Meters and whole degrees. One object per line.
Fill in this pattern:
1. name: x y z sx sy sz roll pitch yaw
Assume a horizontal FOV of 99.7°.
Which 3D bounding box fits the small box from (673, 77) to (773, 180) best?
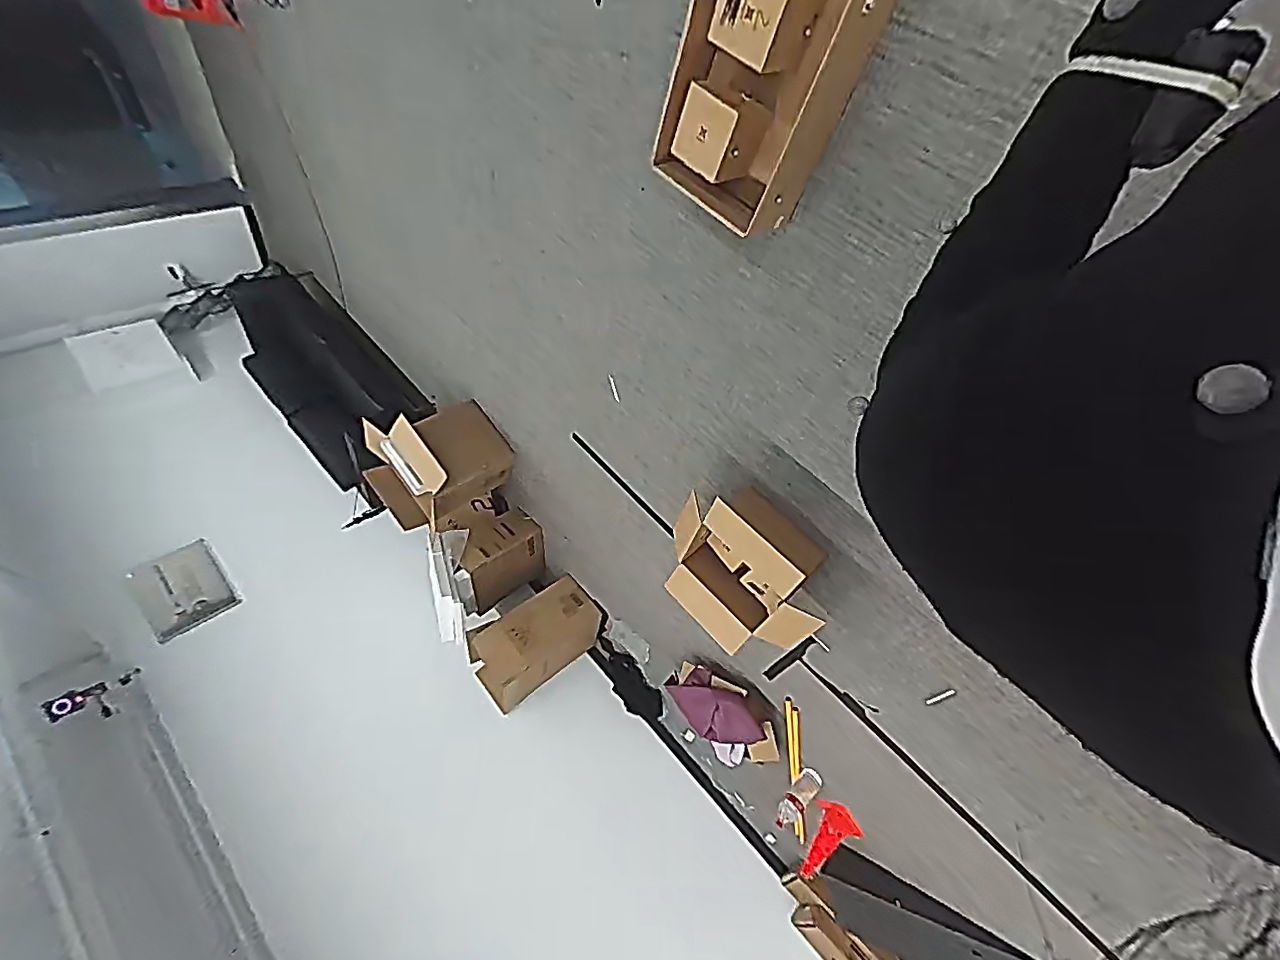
1. small box: 0.222 -0.938 1.440 0.168 0.176 0.179 45 143 15
